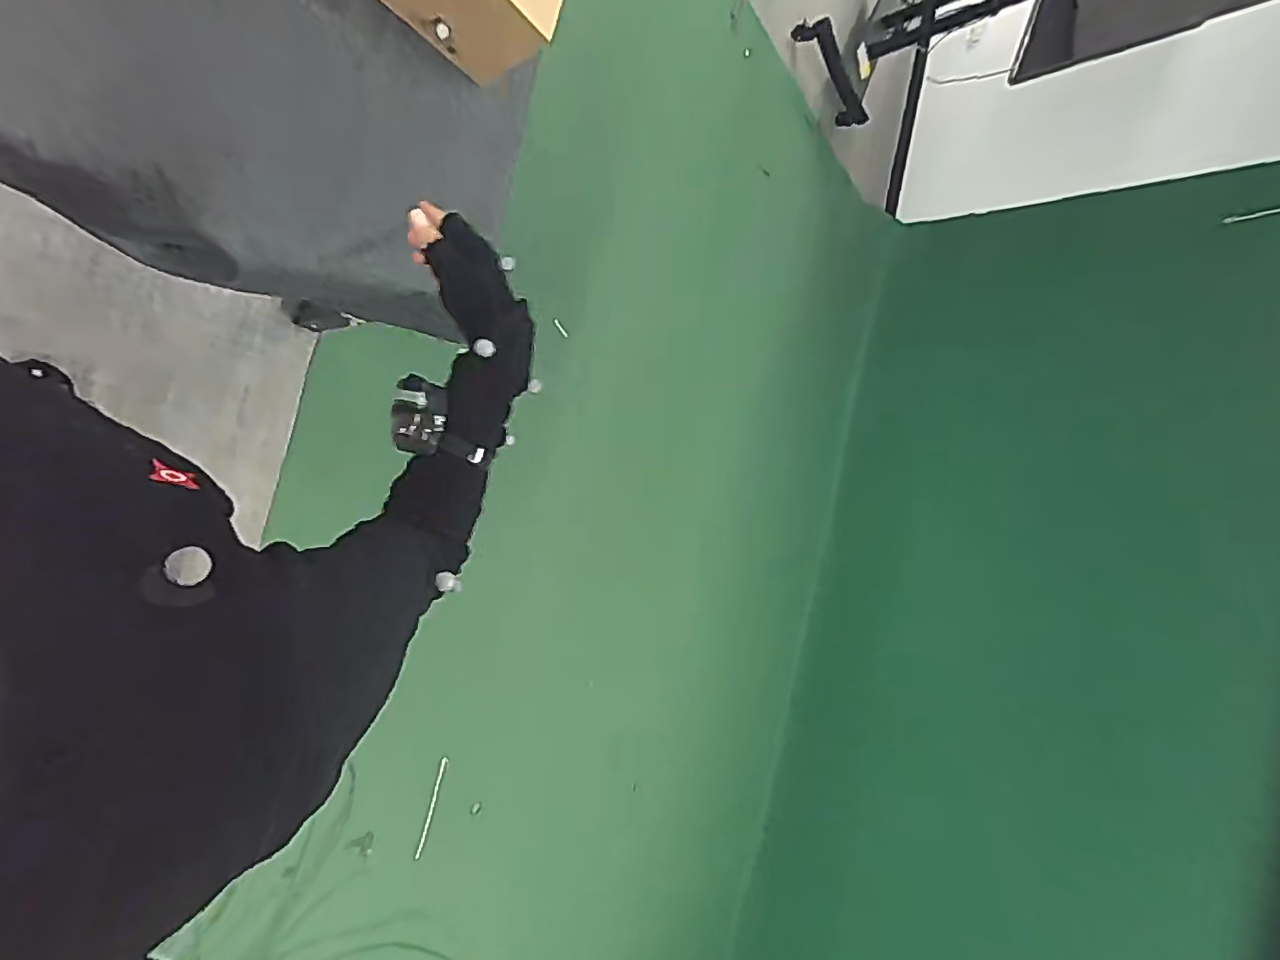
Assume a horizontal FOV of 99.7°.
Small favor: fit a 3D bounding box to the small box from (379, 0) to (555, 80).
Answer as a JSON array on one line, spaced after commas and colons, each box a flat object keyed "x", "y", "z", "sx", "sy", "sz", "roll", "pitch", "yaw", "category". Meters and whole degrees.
[{"x": -0.214, "y": -0.670, "z": 0.688, "sx": 0.168, "sy": 0.176, "sz": 0.179, "roll": 18, "pitch": 84, "yaw": -48, "category": "small box"}]
